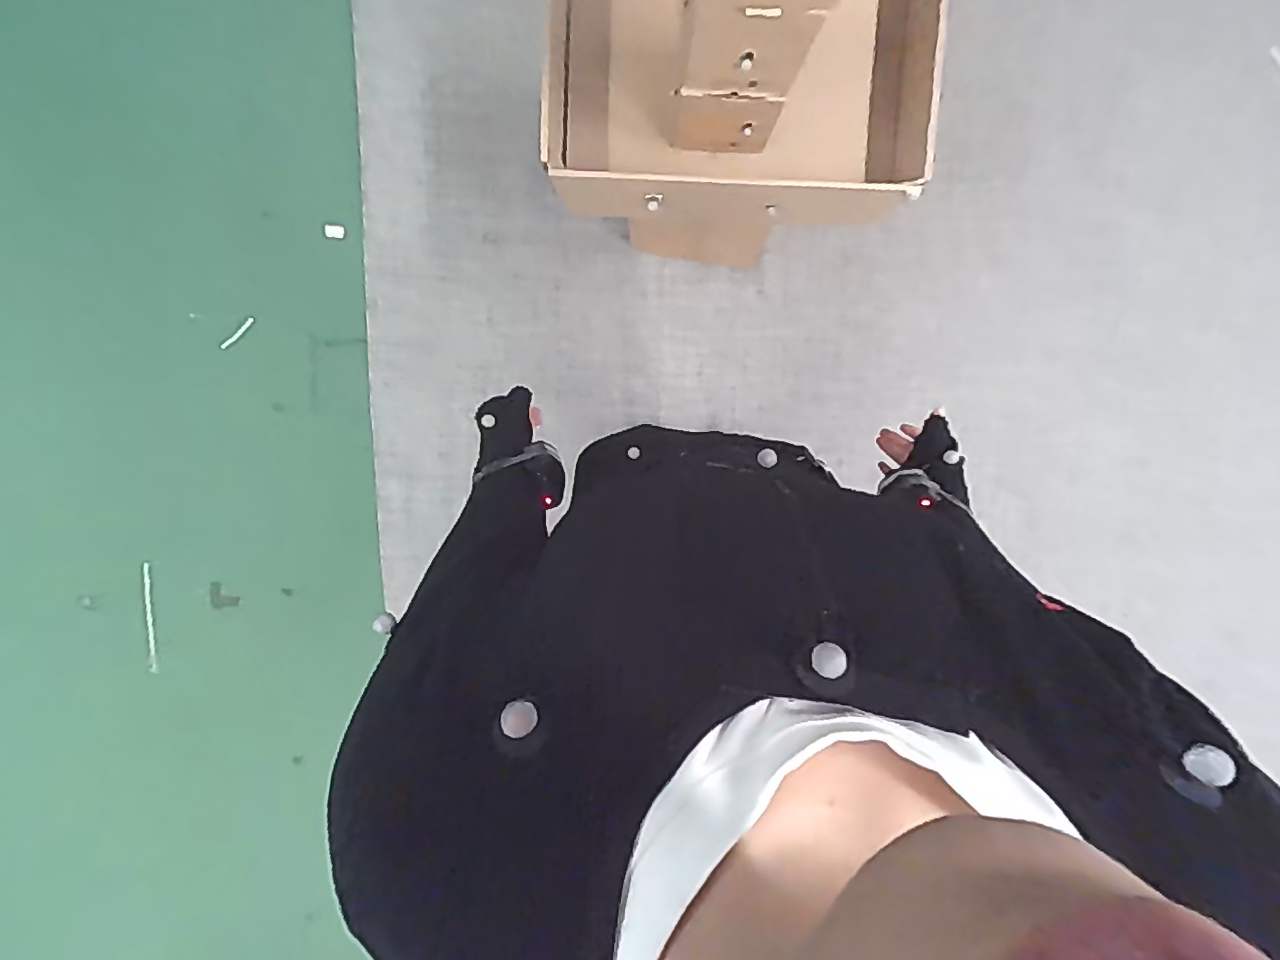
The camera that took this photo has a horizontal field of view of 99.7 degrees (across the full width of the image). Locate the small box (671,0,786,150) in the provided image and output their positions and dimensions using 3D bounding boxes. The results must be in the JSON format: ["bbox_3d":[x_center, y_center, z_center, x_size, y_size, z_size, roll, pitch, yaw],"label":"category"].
[{"bbox_3d":[0.142,-0.675,0.890,0.168,0.176,0.179,1,95,-2],"label":"small box"}]

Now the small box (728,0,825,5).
[{"bbox_3d":[0.153,-0.644,0.562,0.179,0.176,0.168,0,96,-2],"label":"small box"}]

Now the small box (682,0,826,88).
[{"bbox_3d":[0.148,-0.665,0.726,0.168,0.176,0.179,2,97,-2],"label":"small box"}]
